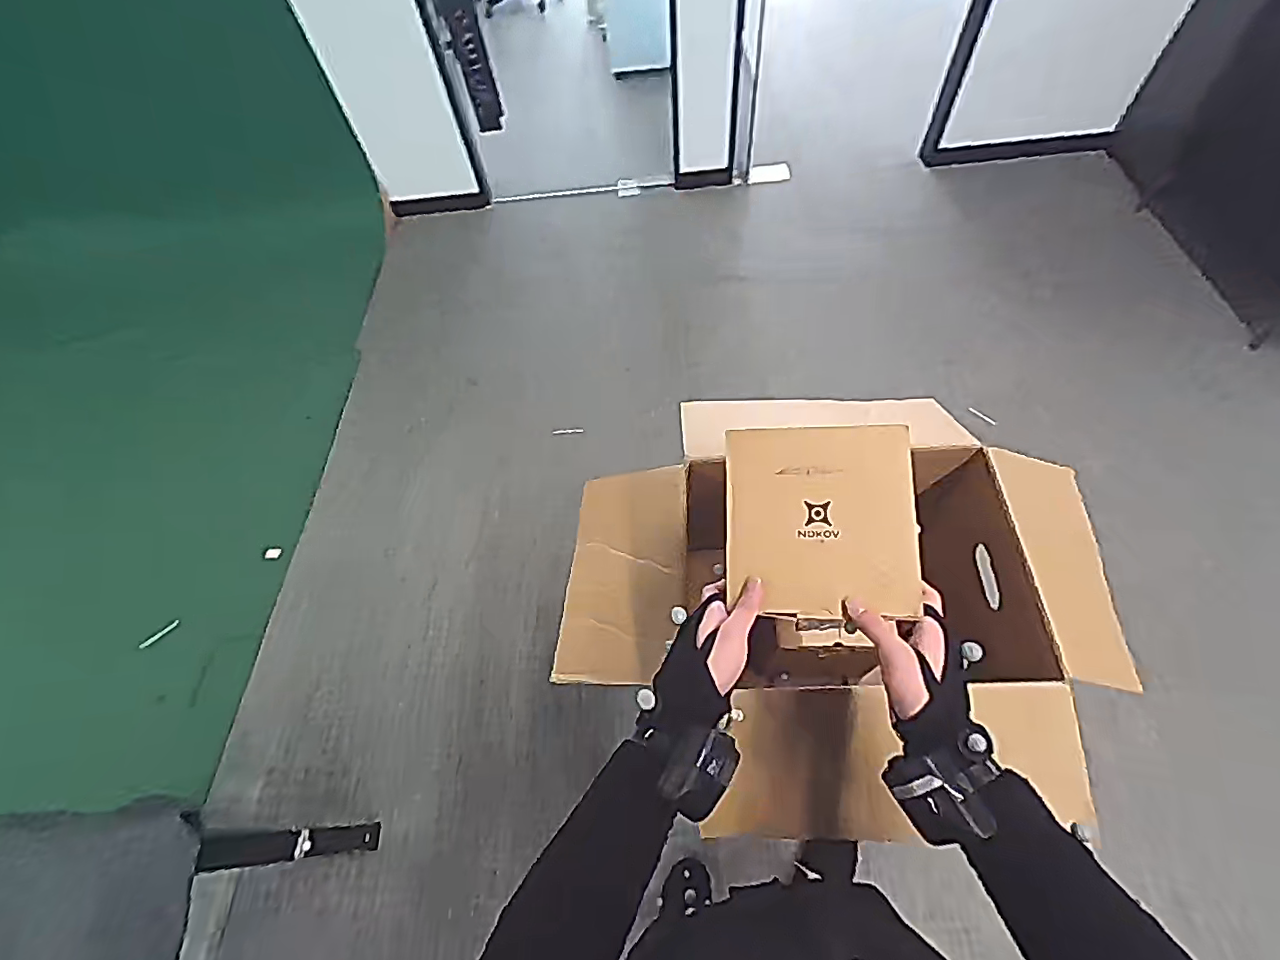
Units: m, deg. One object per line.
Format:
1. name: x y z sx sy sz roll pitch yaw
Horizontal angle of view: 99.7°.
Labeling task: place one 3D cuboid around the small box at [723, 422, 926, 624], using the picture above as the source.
1. small box: 0.170 0.052 0.551 0.168 0.176 0.179 -1 76 9
